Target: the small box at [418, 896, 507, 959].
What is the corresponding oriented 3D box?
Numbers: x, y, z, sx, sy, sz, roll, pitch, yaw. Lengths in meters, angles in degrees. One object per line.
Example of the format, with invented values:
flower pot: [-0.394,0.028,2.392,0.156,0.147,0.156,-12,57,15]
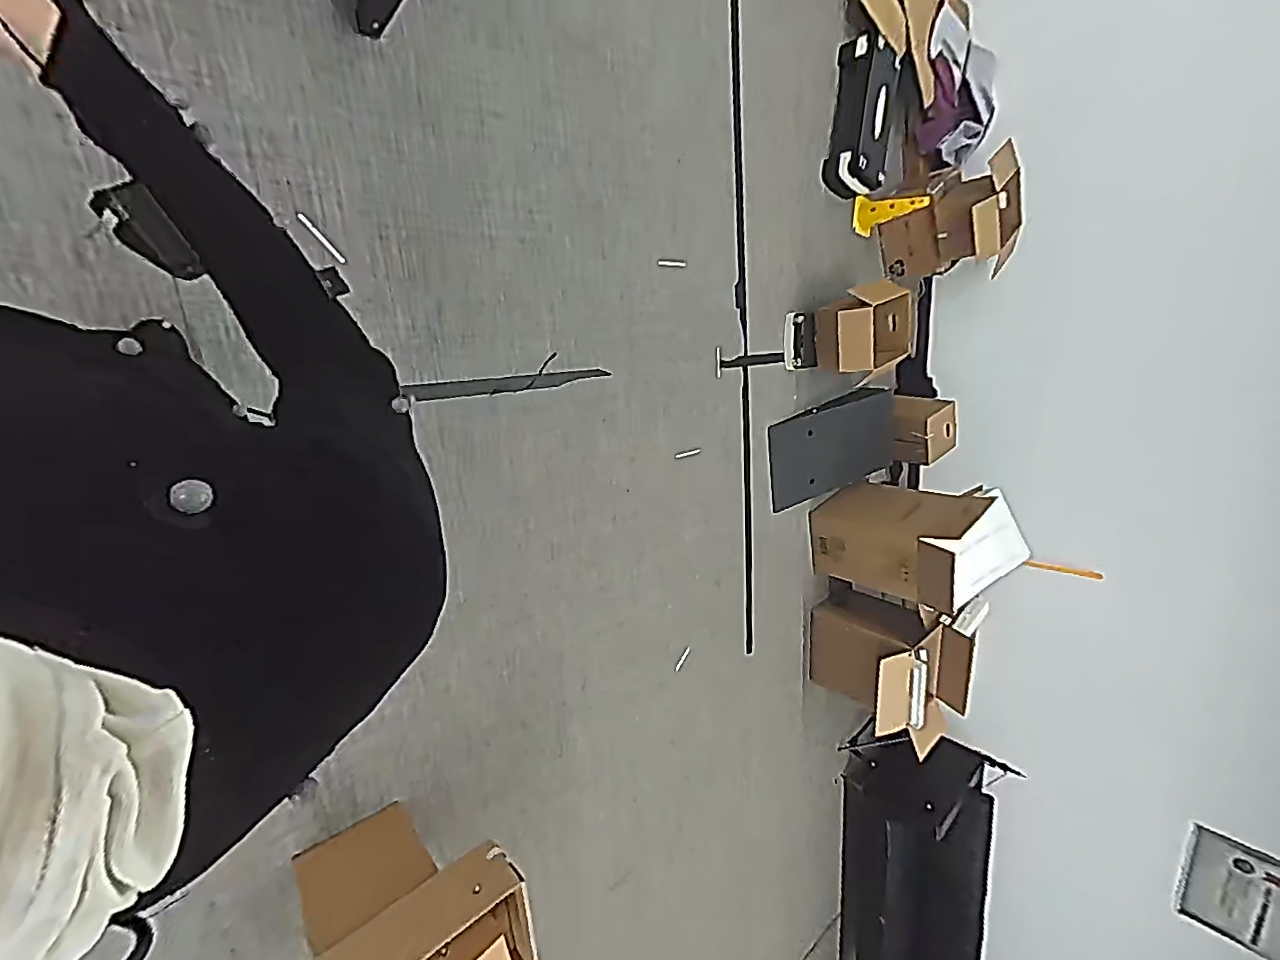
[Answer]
small box: [-0.469,1.276,1.433,0.179,0.176,0.168,-23,114,-39]
